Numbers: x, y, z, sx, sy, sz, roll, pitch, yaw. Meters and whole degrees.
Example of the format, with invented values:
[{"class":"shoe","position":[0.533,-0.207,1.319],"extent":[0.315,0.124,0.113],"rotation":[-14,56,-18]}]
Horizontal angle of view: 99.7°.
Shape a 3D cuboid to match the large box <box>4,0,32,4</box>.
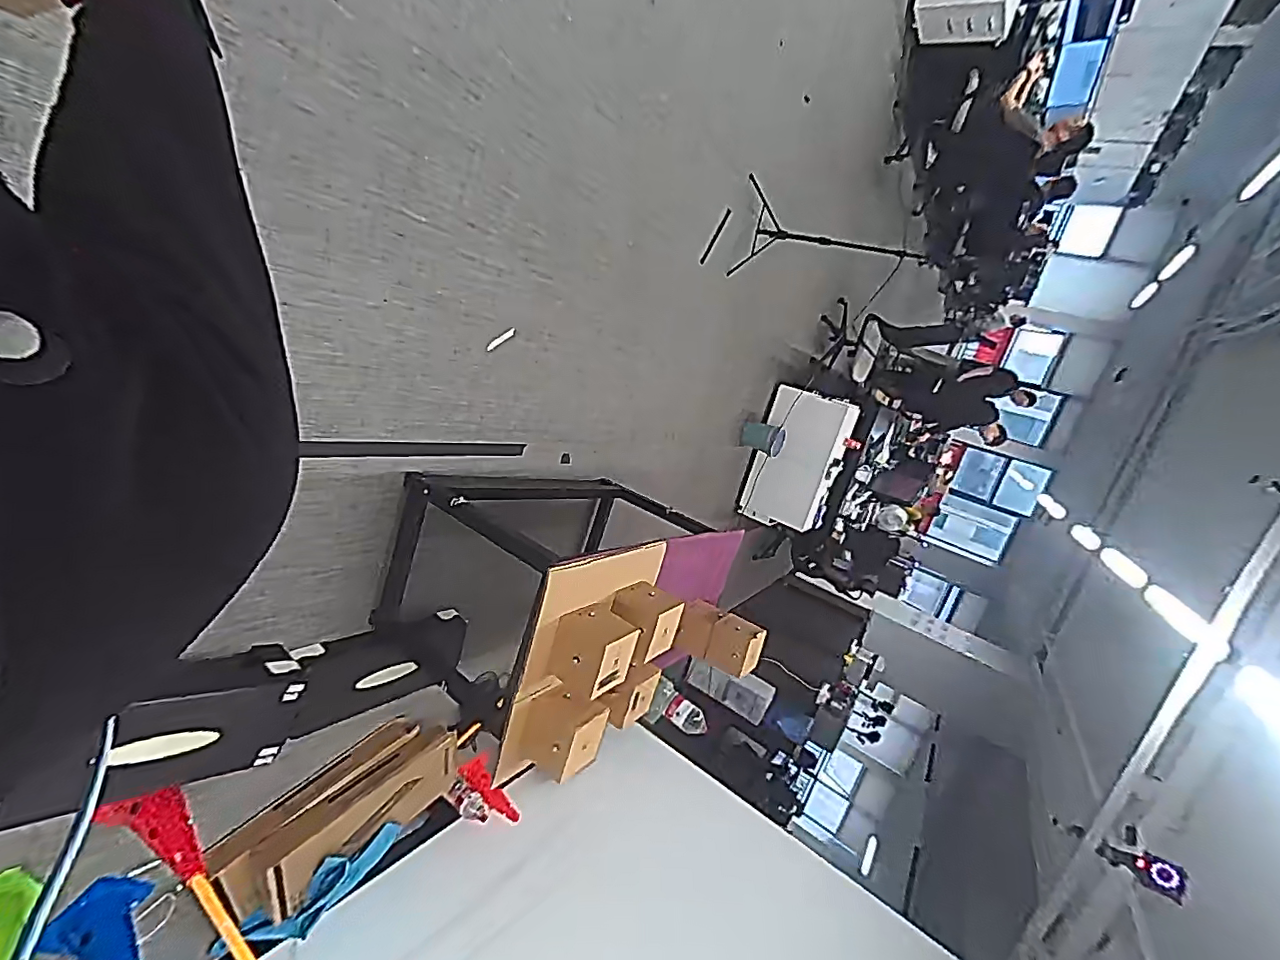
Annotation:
[{"class":"large box","position":[-0.593,-0.570,0.291],"extent":[0.408,0.320,0.320],"rotation":[-2,115,-57]}]
